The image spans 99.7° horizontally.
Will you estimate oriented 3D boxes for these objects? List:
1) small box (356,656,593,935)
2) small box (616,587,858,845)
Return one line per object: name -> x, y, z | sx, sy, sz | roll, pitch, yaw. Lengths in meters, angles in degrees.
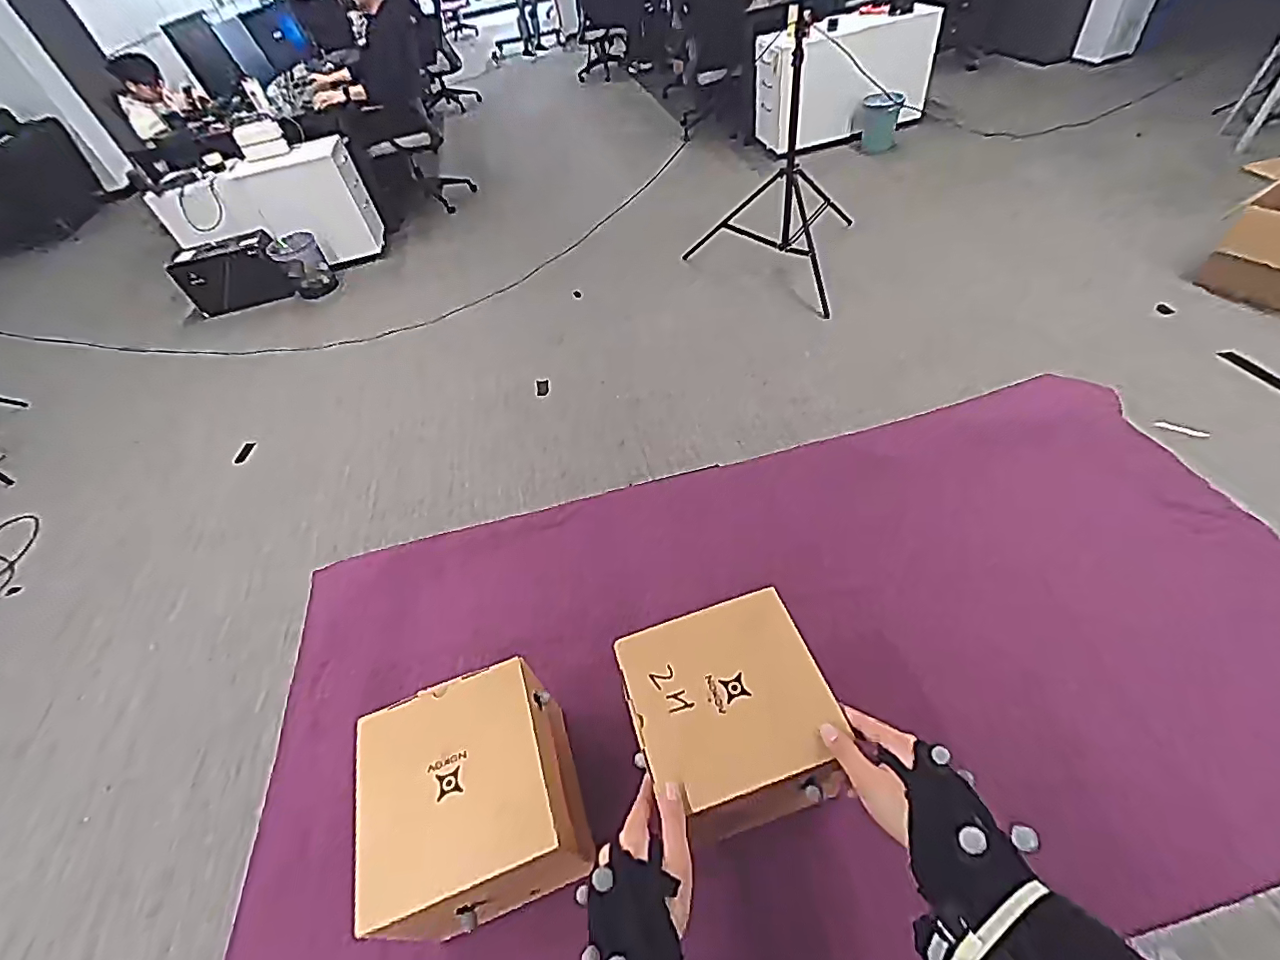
small box -> -0.157, 0.313, 0.538 | 0.168, 0.176, 0.179 | -20, 48, -7
small box -> 0.089, 0.242, 0.551 | 0.179, 0.176, 0.168 | -18, 47, -5
